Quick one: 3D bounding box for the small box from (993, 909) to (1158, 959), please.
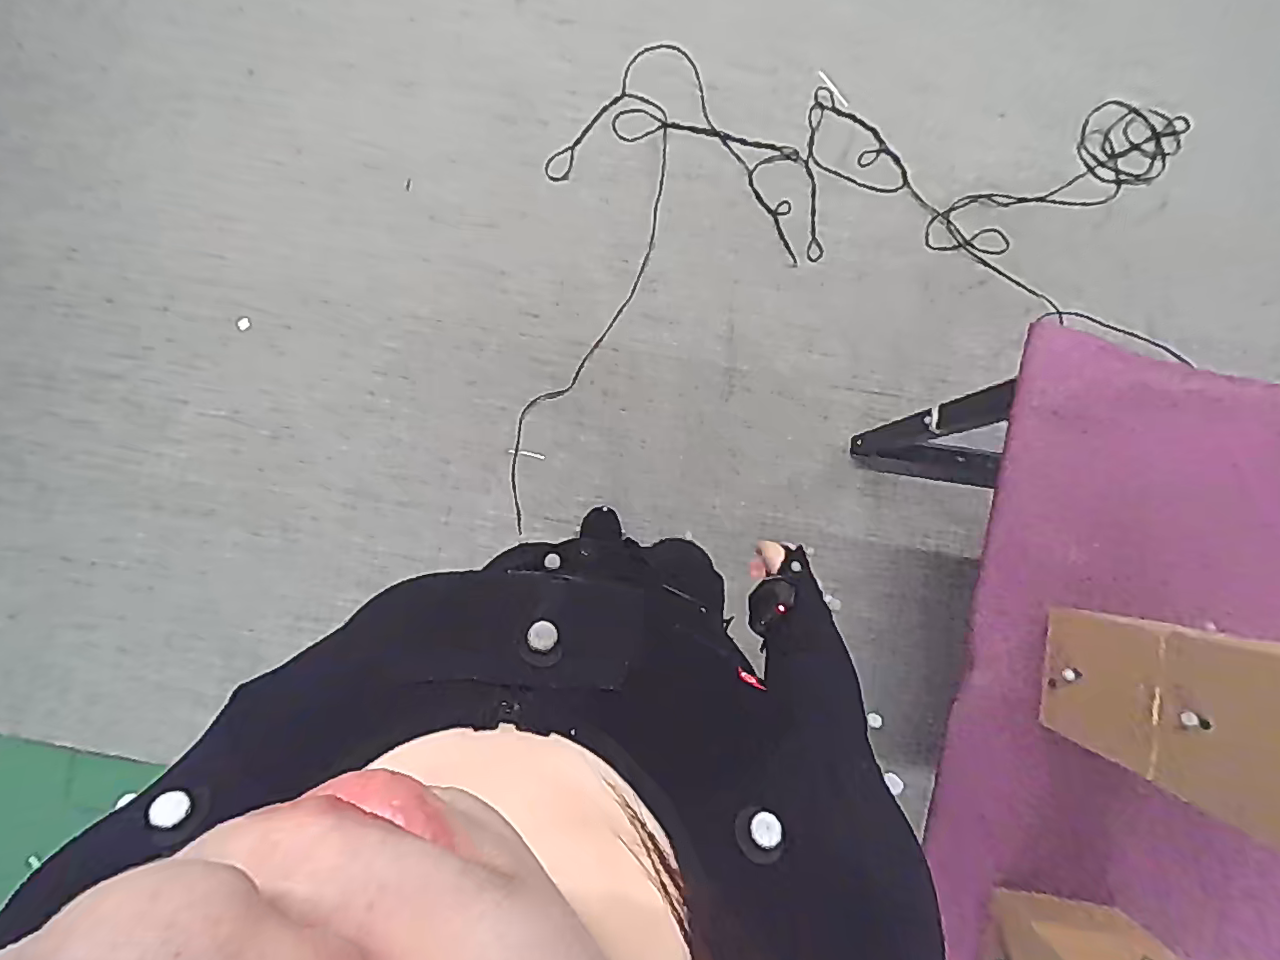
[{"bbox_3d":[0.558,0.661,0.644,0.179,0.176,0.168,10,86,1],"label":"small box"}]

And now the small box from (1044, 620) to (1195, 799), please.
[{"bbox_3d":[0.655,0.279,0.670,0.179,0.176,0.168,8,86,0],"label":"small box"}]

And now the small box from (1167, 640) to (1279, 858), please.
[{"bbox_3d":[0.656,0.266,0.506,0.168,0.176,0.179,8,87,-1],"label":"small box"}]
